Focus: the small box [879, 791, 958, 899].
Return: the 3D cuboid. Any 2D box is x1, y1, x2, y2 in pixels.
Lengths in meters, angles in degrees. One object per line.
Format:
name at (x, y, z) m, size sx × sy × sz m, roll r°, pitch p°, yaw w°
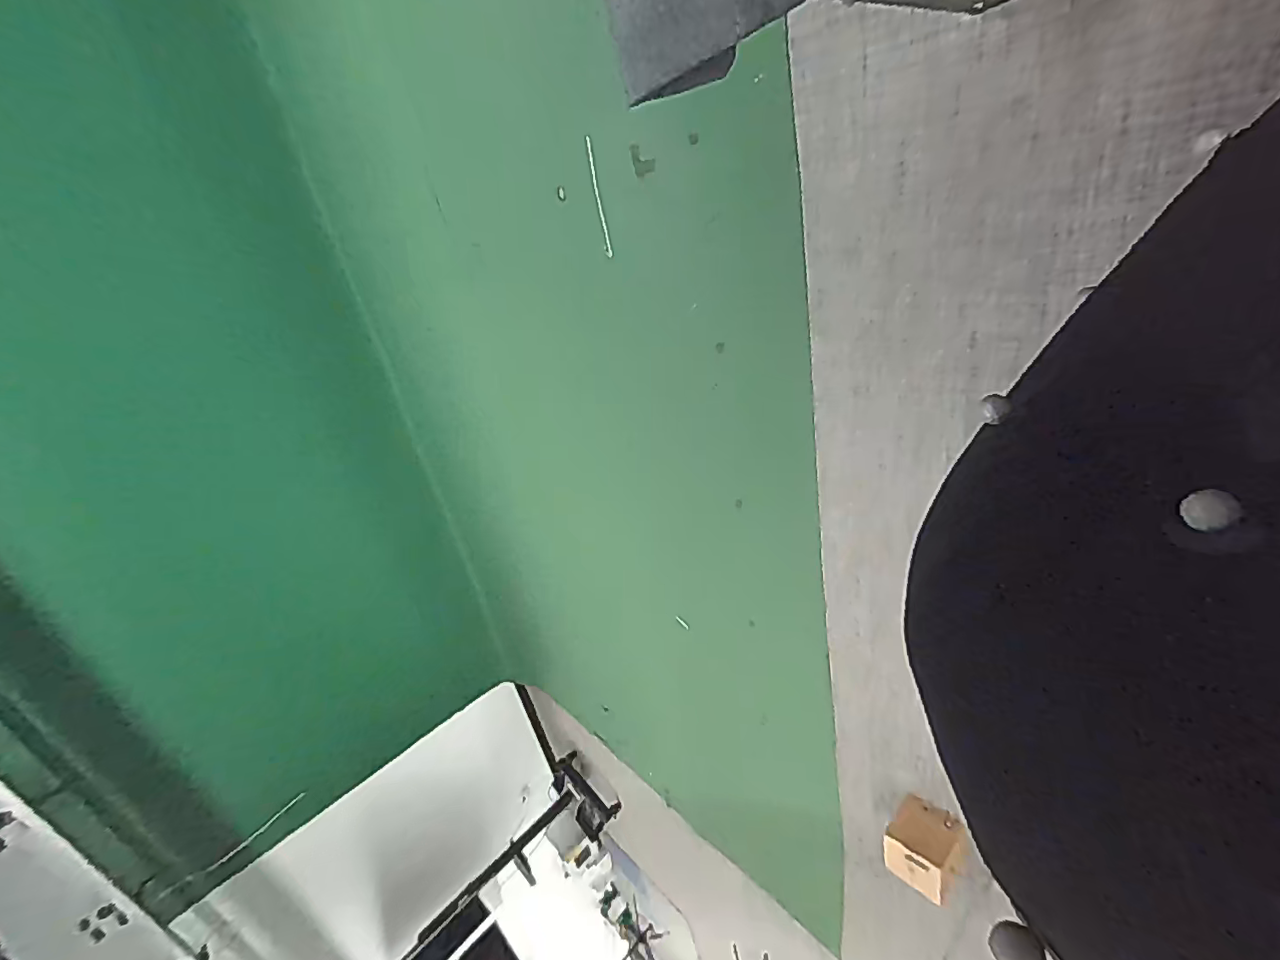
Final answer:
small box at (0.848, 1.102, 1.648) m, size 0.168 × 0.176 × 0.179 m, roll 16°, pitch 127°, yaw 47°
